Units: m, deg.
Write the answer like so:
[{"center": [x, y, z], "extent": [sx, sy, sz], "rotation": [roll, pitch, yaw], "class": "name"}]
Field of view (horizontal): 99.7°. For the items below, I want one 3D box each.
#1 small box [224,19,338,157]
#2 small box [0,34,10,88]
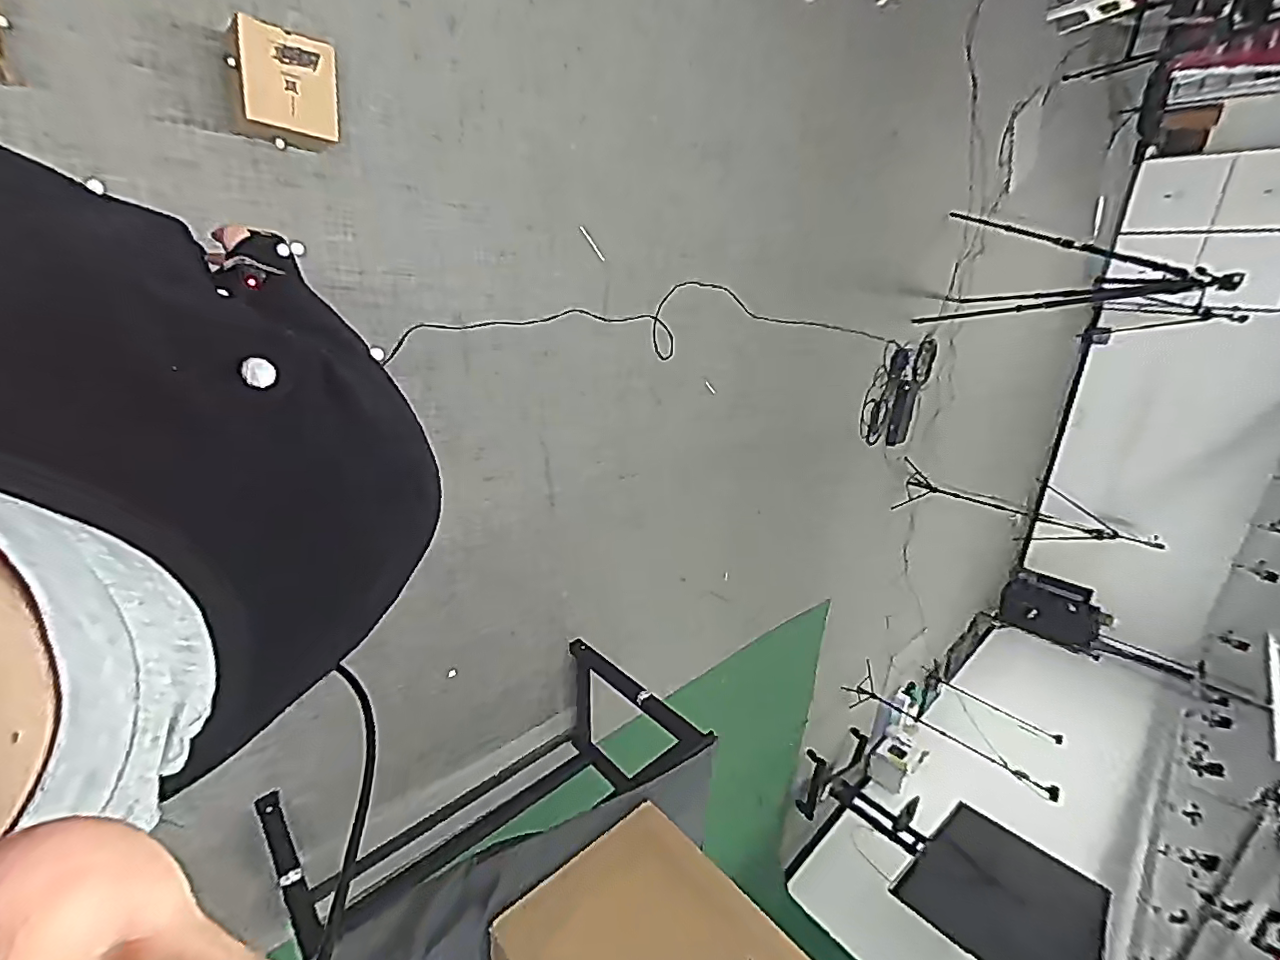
[{"center": [-0.751, -0.803, 1.131], "extent": [0.168, 0.176, 0.179], "rotation": [-10, 113, -41], "class": "small box"}, {"center": [-1.100, -0.729, 0.815], "extent": [0.168, 0.176, 0.179], "rotation": [-11, 113, -42], "class": "small box"}]
